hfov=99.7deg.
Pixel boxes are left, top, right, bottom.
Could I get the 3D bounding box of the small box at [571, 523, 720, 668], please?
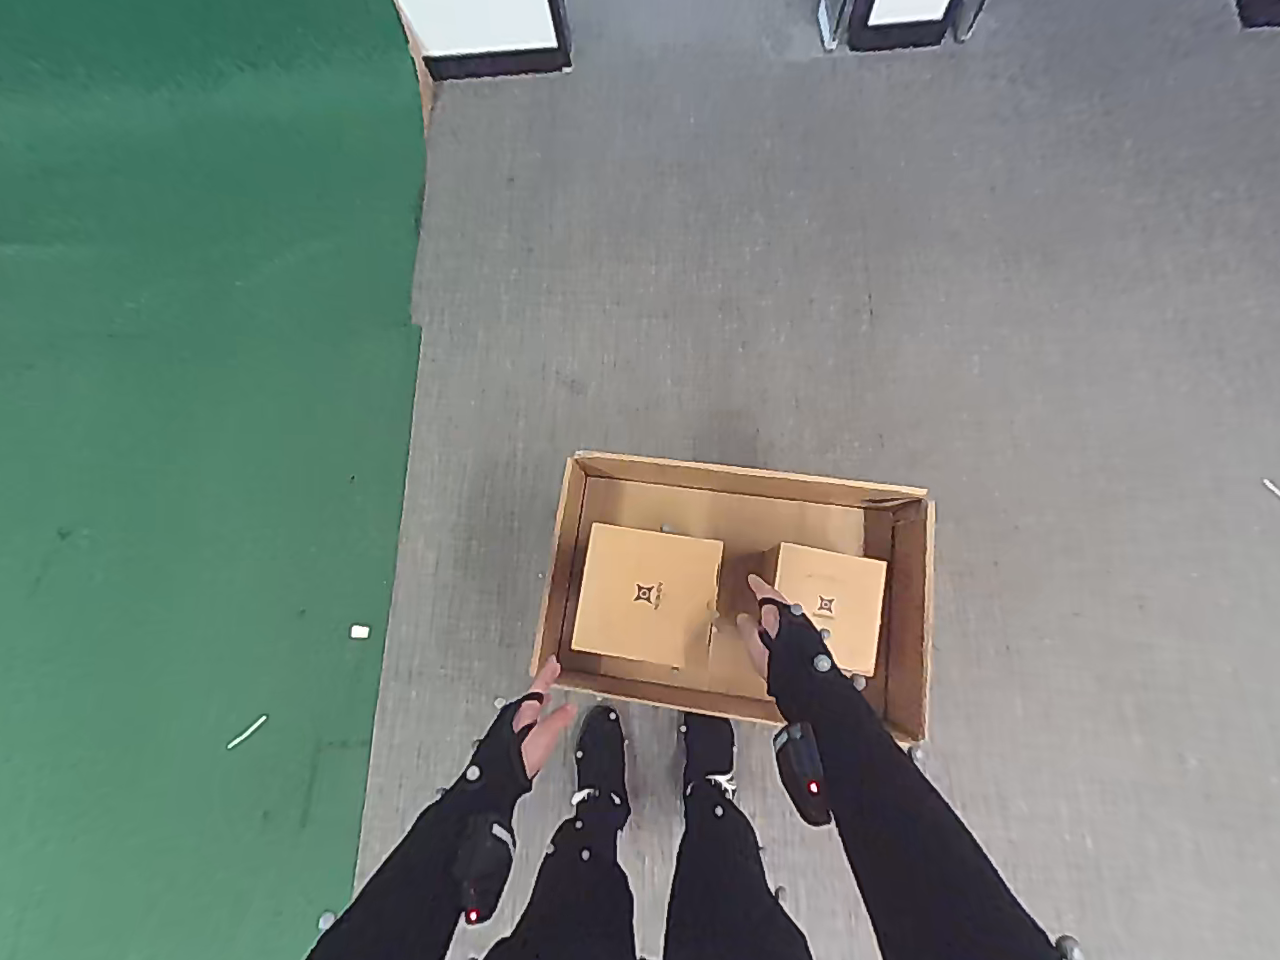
[{"bbox_3d":[0.015,0.164,0.777,0.179,0.176,0.168,7,79,6],"label":"small box"}]
